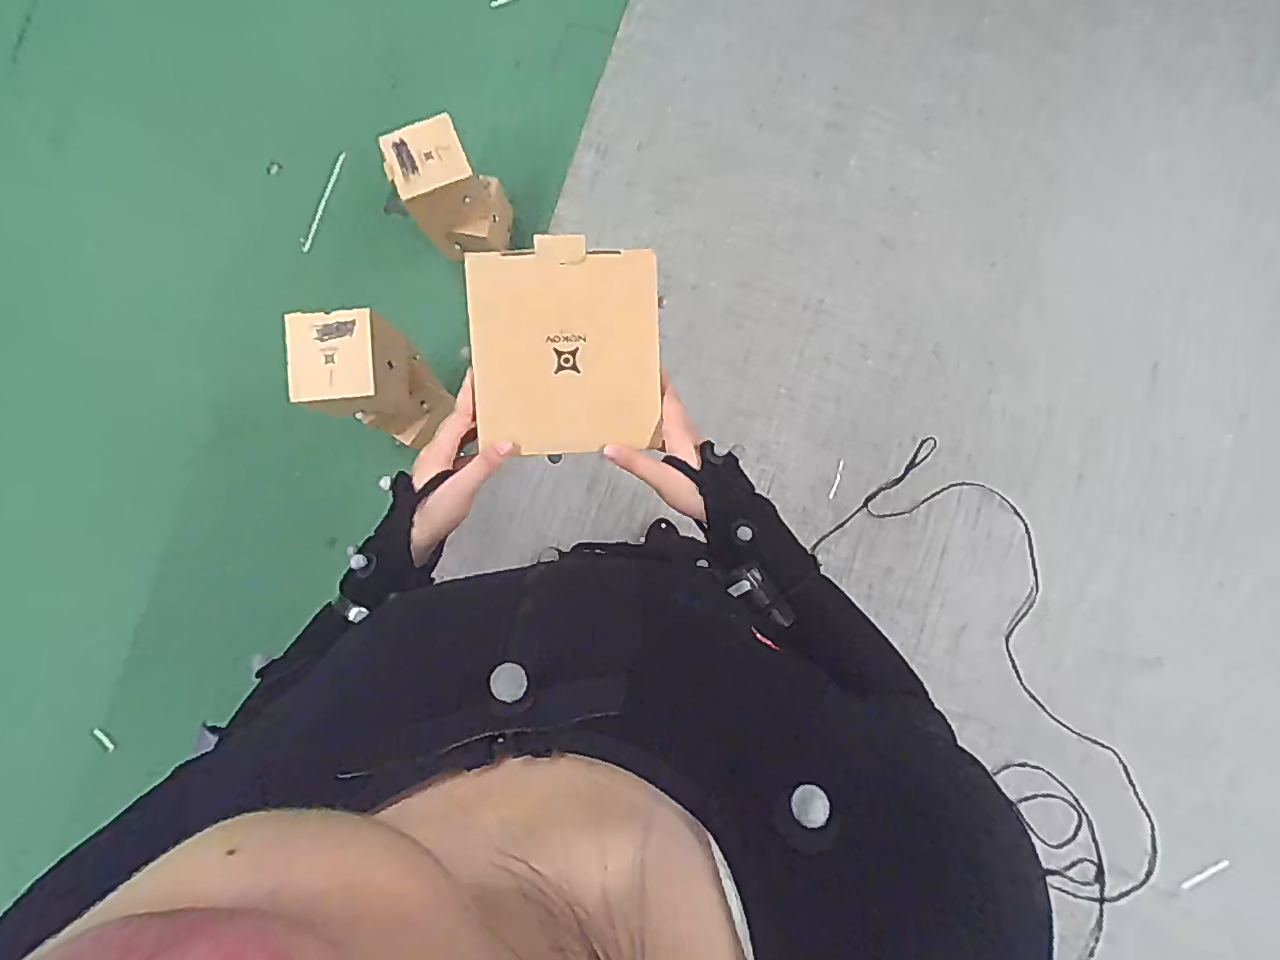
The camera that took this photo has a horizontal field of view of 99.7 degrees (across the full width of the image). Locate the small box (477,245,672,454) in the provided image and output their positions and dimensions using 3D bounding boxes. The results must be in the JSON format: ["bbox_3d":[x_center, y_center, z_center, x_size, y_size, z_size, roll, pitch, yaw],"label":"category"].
[{"bbox_3d":[-0.060,-0.123,0.548,0.168,0.176,0.179,-3,97,-5],"label":"small box"}]

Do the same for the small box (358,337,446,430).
[{"bbox_3d":[-0.590,-0.232,1.273,0.168,0.176,0.179,-35,86,-4],"label":"small box"}]

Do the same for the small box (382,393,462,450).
[{"bbox_3d":[-0.606,-0.192,1.432,0.179,0.176,0.168,34,86,3],"label":"small box"}]

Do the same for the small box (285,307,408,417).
[{"bbox_3d":[-0.593,-0.234,1.108,0.168,0.176,0.179,-5,87,-1],"label":"small box"}]

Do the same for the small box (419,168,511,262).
[{"bbox_3d":[-0.468,-0.709,1.467,0.179,0.176,0.168,9,86,1],"label":"small box"}]
